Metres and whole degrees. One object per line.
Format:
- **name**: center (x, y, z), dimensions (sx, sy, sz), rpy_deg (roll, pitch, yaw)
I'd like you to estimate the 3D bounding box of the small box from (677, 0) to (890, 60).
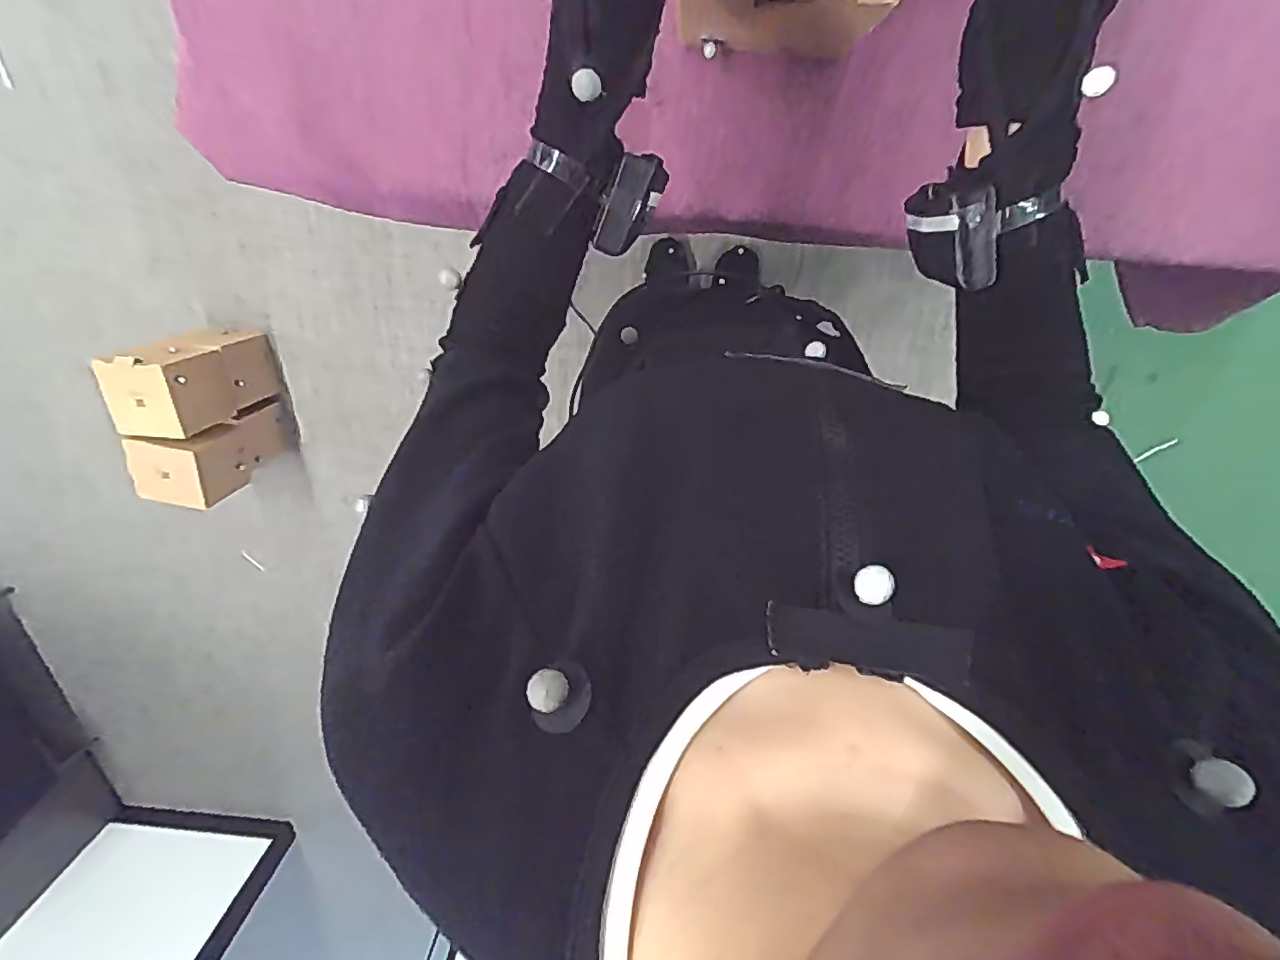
- **small box**: center (0.123, -0.471, 0.437), dimensions (0.168, 0.176, 0.179), rpy_deg (7, 115, 2)
